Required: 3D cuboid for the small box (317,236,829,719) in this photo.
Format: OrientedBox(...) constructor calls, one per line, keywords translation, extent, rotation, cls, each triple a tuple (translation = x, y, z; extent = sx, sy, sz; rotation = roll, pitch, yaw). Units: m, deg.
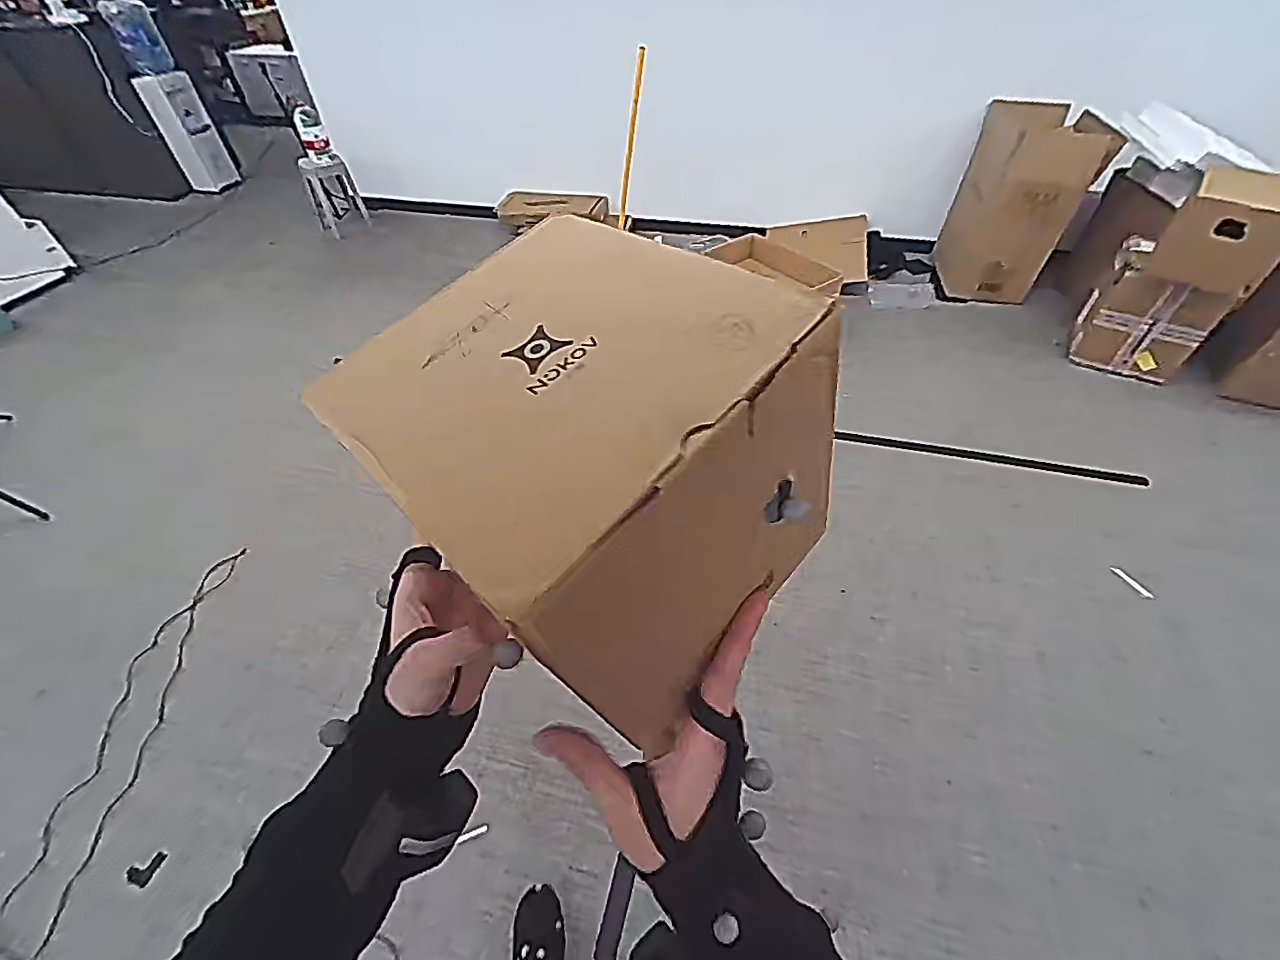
OrientedBox(translation=(-0.021, 0.003, 0.296), extent=(0.179, 0.176, 0.168), rotation=(32, 67, 33), cls="small box")
